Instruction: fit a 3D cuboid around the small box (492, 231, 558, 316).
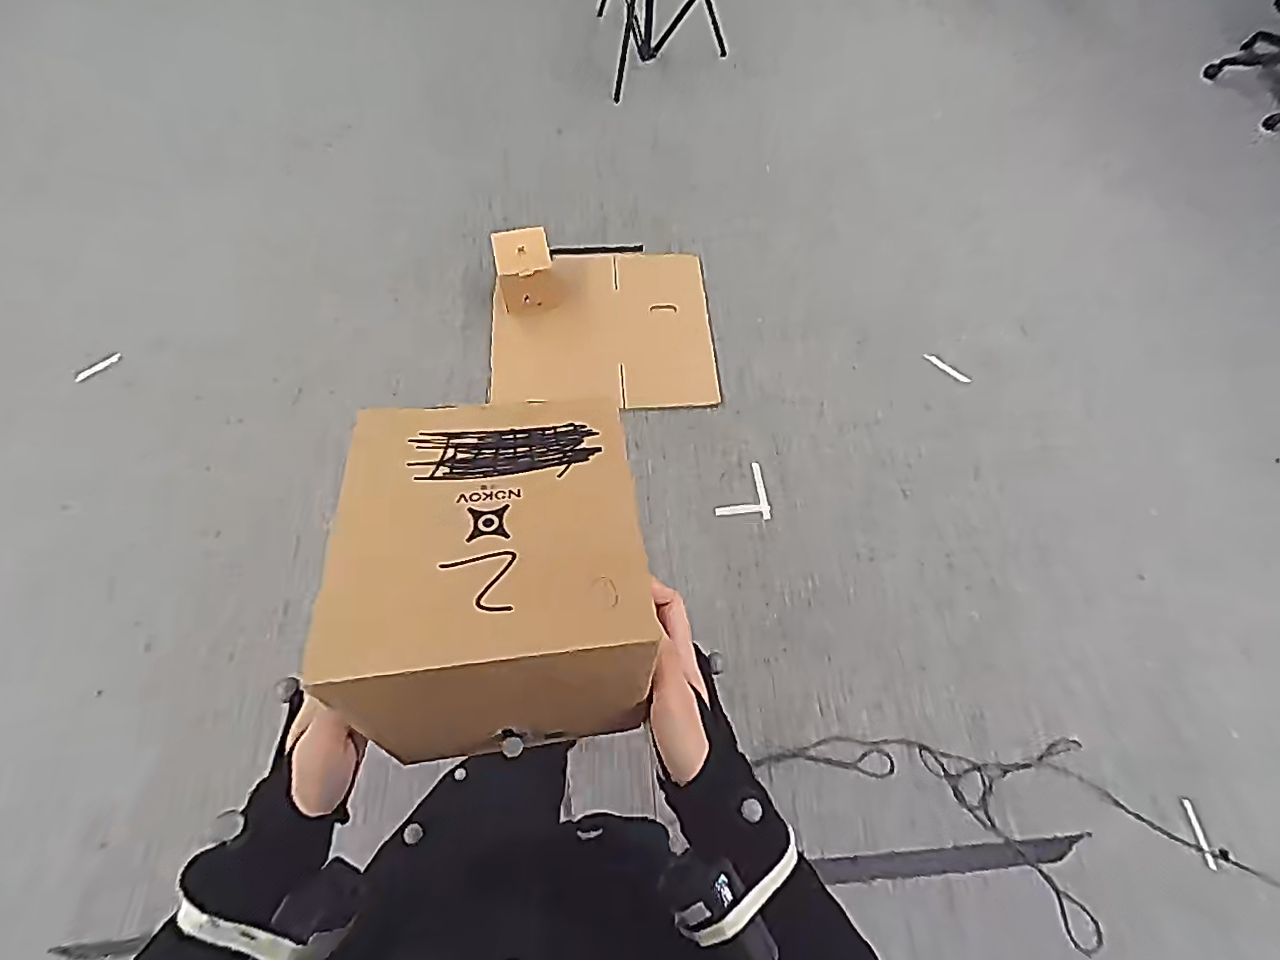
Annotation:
[{"bbox_3d":[-0.362,-0.650,1.709,0.168,0.176,0.179,-12,68,-7],"label":"small box"}]
